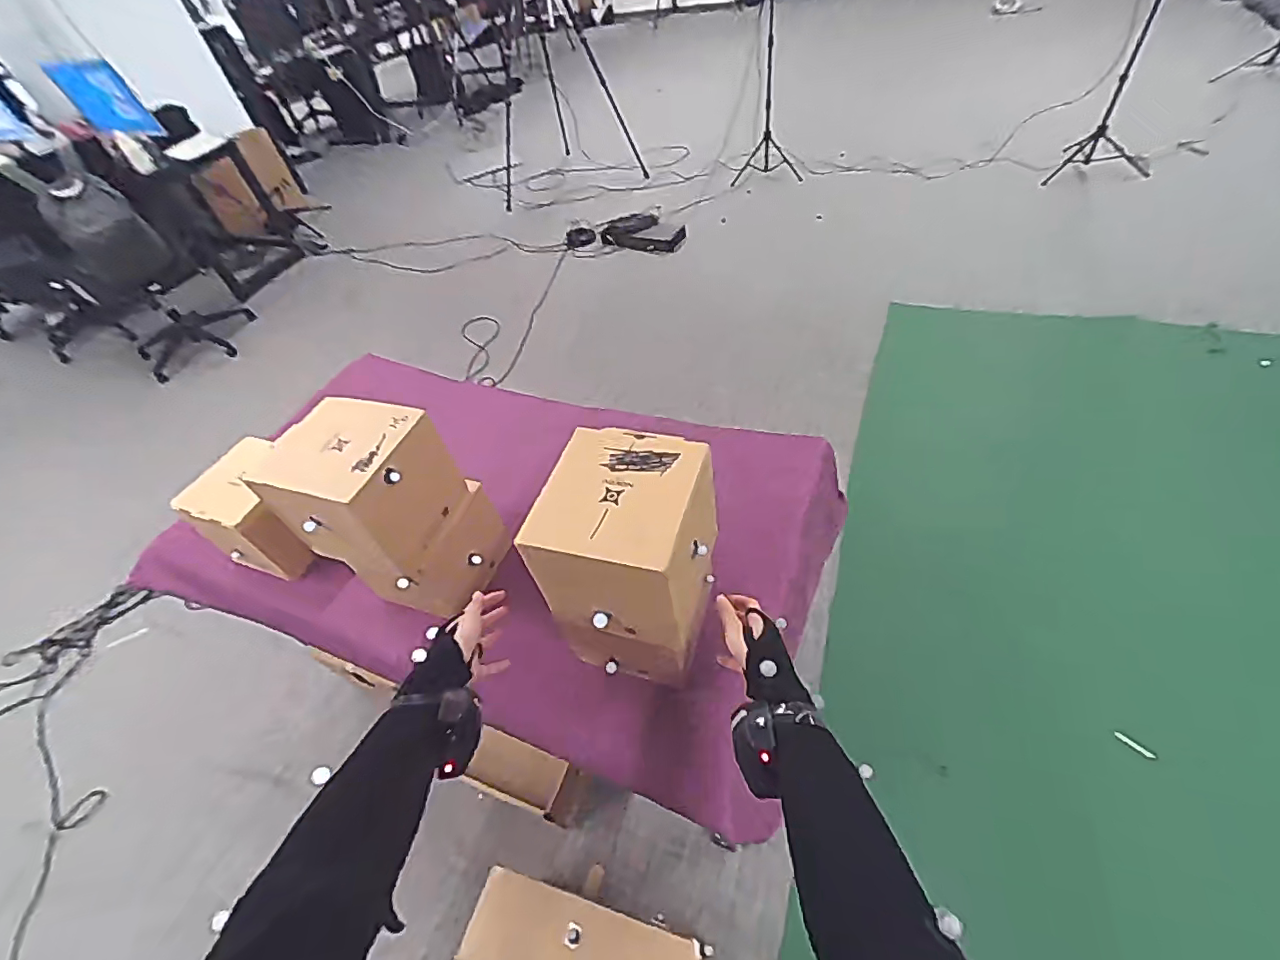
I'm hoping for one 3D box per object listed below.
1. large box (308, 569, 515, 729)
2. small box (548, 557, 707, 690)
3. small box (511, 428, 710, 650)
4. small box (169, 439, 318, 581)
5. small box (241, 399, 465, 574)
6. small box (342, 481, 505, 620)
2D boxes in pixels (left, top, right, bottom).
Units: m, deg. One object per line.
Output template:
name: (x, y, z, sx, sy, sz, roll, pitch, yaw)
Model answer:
large box: (-0.616, 0.424, 1.542, 0.320, 0.320, 0.408, 11, 53, 19)
small box: (-0.004, 0.164, 0.762, 0.168, 0.176, 0.179, 8, 50, 19)
small box: (-0.018, 0.066, 0.629, 0.168, 0.176, 0.179, 9, 50, 20)
small box: (-0.677, 0.055, 0.989, 0.168, 0.176, 0.179, 12, 52, 19)
small box: (-0.380, 0.010, 0.748, 0.179, 0.176, 0.168, 9, 51, 19)
small box: (-0.347, 0.106, 0.879, 0.179, 0.176, 0.168, 10, 50, 19)
